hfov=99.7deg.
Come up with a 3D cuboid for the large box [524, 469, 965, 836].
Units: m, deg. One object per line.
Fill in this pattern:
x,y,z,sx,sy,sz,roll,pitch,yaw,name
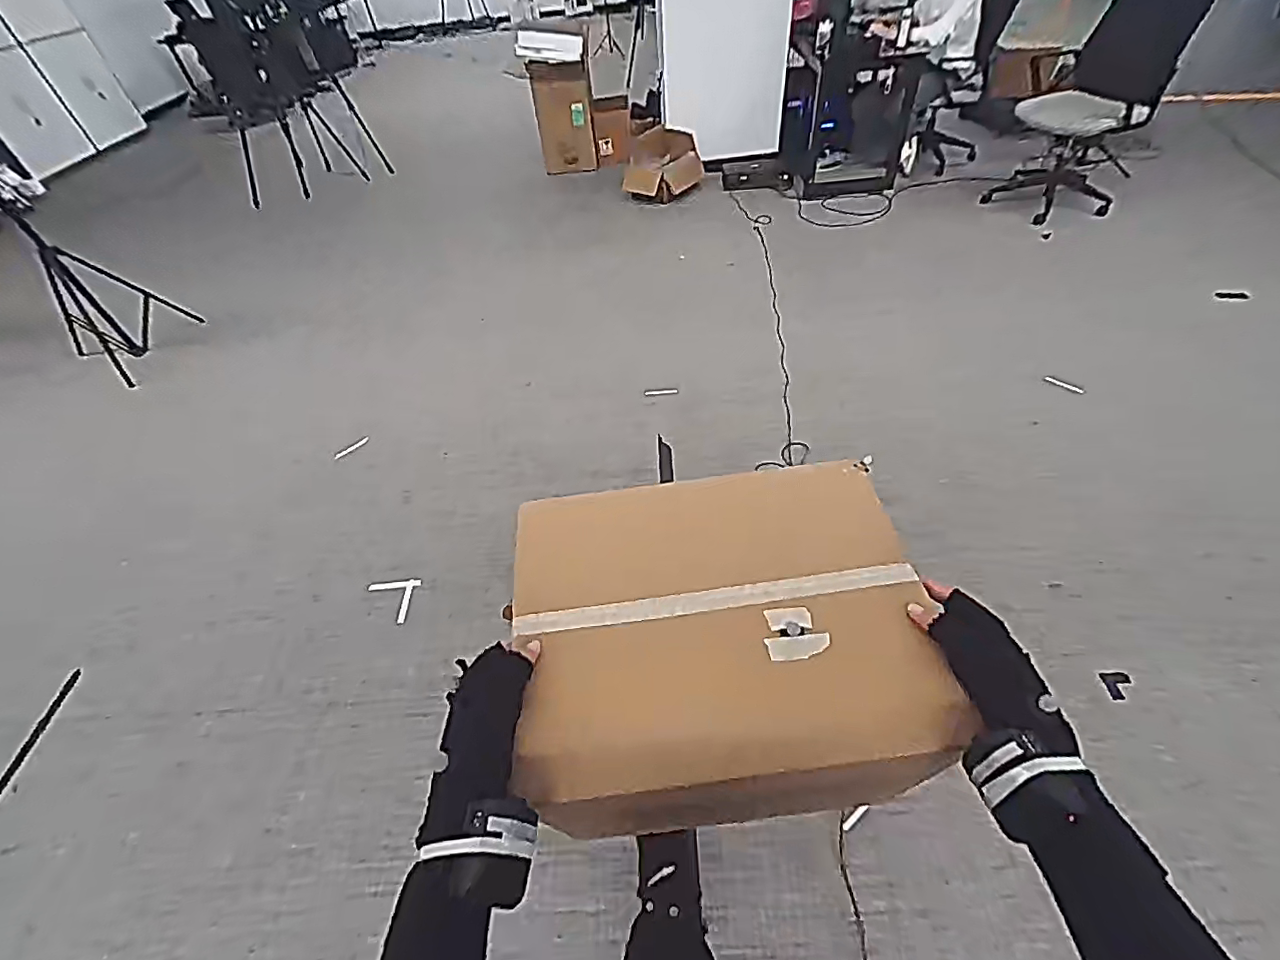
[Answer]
0.086,0.223,0.680,0.408,0.320,0.320,-8,52,0,large box
